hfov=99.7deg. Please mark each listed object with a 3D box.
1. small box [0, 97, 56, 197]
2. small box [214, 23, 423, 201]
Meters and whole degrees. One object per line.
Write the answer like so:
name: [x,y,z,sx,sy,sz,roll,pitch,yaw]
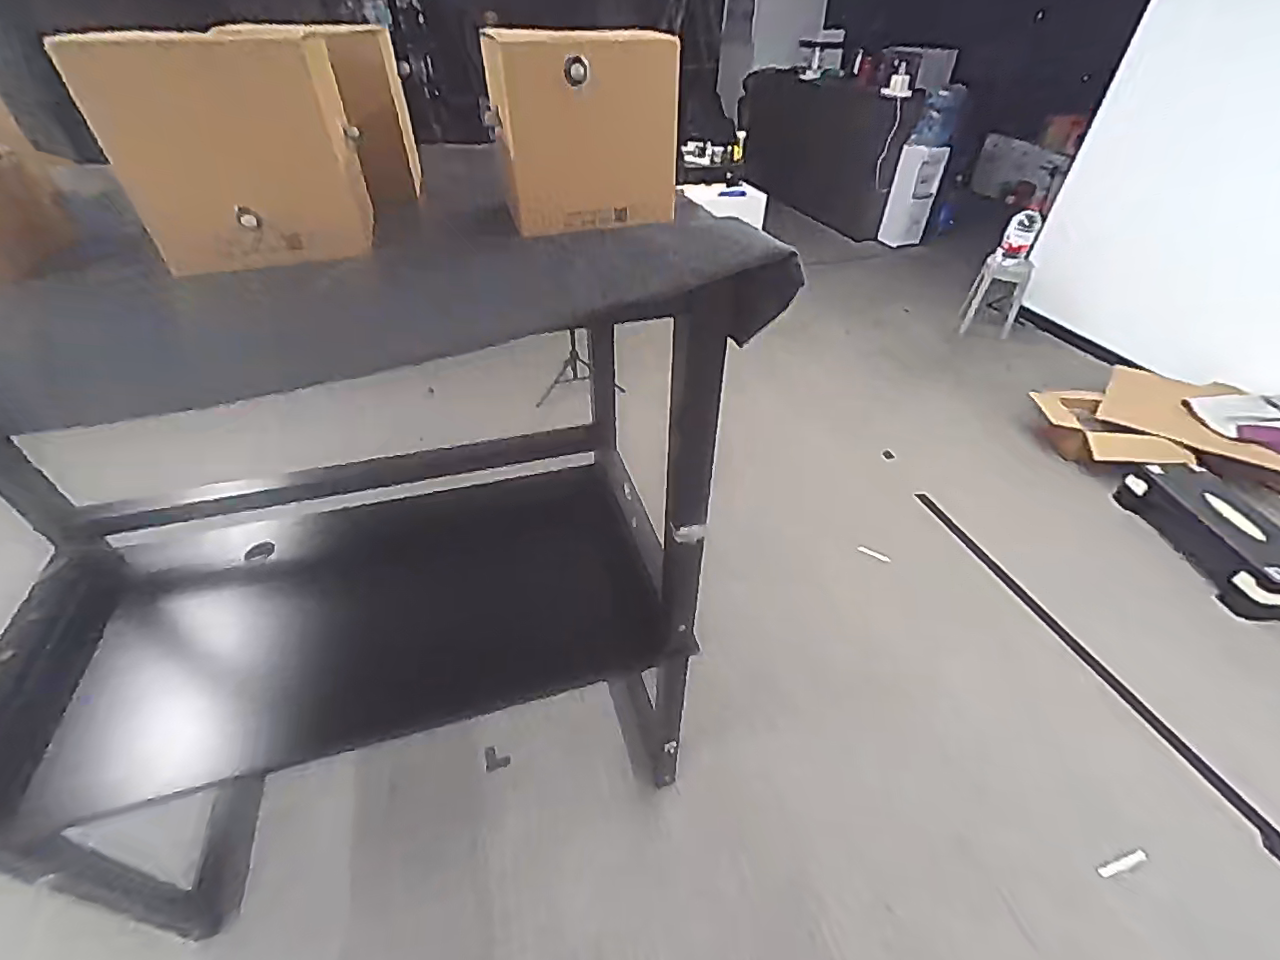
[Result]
small box: [-0.808,-0.376,0.579,0.168,0.176,0.179,-11,42,-13]
small box: [-0.381,-0.463,0.682,0.168,0.176,0.179,-10,42,-12]
